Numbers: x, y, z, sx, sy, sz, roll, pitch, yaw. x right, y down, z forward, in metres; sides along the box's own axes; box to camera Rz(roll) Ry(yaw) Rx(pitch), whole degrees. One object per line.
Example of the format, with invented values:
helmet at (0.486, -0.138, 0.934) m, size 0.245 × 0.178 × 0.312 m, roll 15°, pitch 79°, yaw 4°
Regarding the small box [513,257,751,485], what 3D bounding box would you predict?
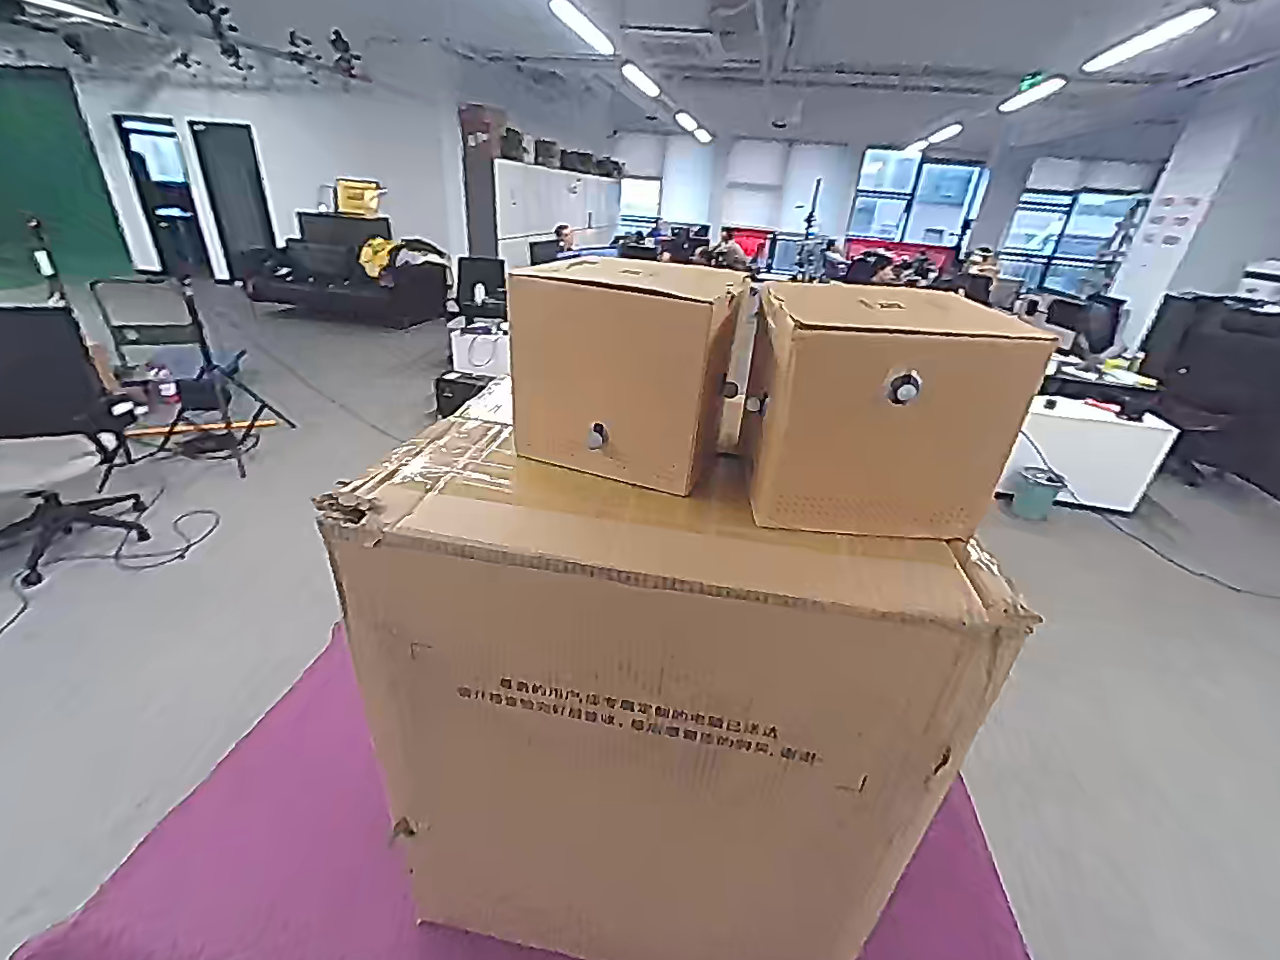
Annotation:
small box at (-0.005, -0.111, 0.527) m, size 0.179 × 0.176 × 0.168 m, roll 14°, pitch 28°, yaw 15°
